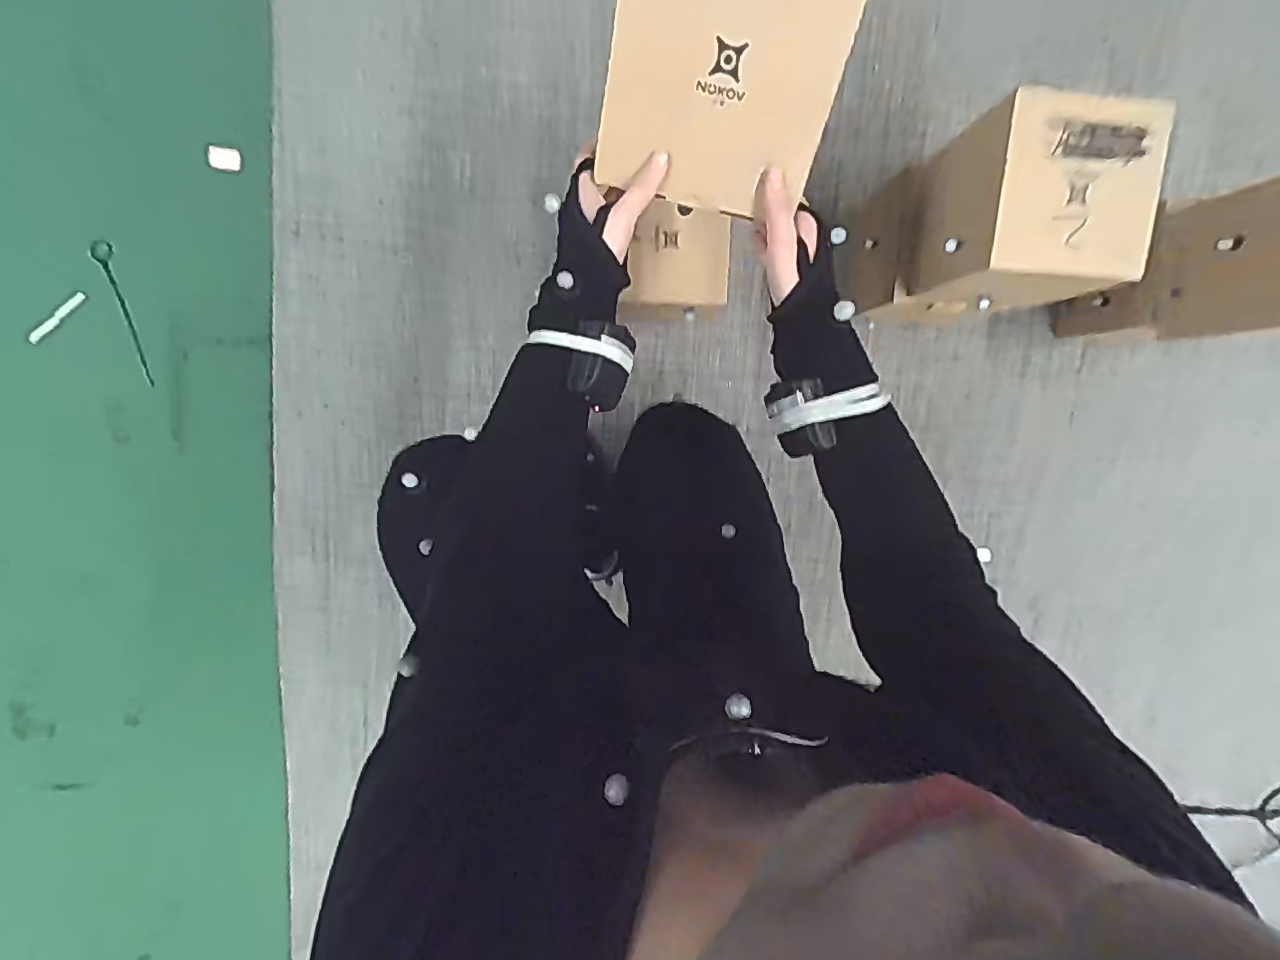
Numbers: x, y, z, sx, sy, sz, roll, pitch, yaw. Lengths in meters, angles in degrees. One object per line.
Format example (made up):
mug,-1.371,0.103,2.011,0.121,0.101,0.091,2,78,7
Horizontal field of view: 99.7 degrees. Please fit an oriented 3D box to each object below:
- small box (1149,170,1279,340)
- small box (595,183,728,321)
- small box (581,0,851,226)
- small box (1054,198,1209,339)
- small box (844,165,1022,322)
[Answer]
small box,0.772,-0.265,0.650,0.179,0.176,0.168,-5,99,0
small box,0.027,-0.334,0.797,0.179,0.176,0.168,2,97,-1
small box,0.056,-0.339,0.451,0.168,0.176,0.179,12,126,-4
small box,0.769,-0.304,0.808,0.179,0.176,0.168,0,99,-1
small box,0.416,-0.335,0.800,0.168,0.176,0.179,3,98,-1
